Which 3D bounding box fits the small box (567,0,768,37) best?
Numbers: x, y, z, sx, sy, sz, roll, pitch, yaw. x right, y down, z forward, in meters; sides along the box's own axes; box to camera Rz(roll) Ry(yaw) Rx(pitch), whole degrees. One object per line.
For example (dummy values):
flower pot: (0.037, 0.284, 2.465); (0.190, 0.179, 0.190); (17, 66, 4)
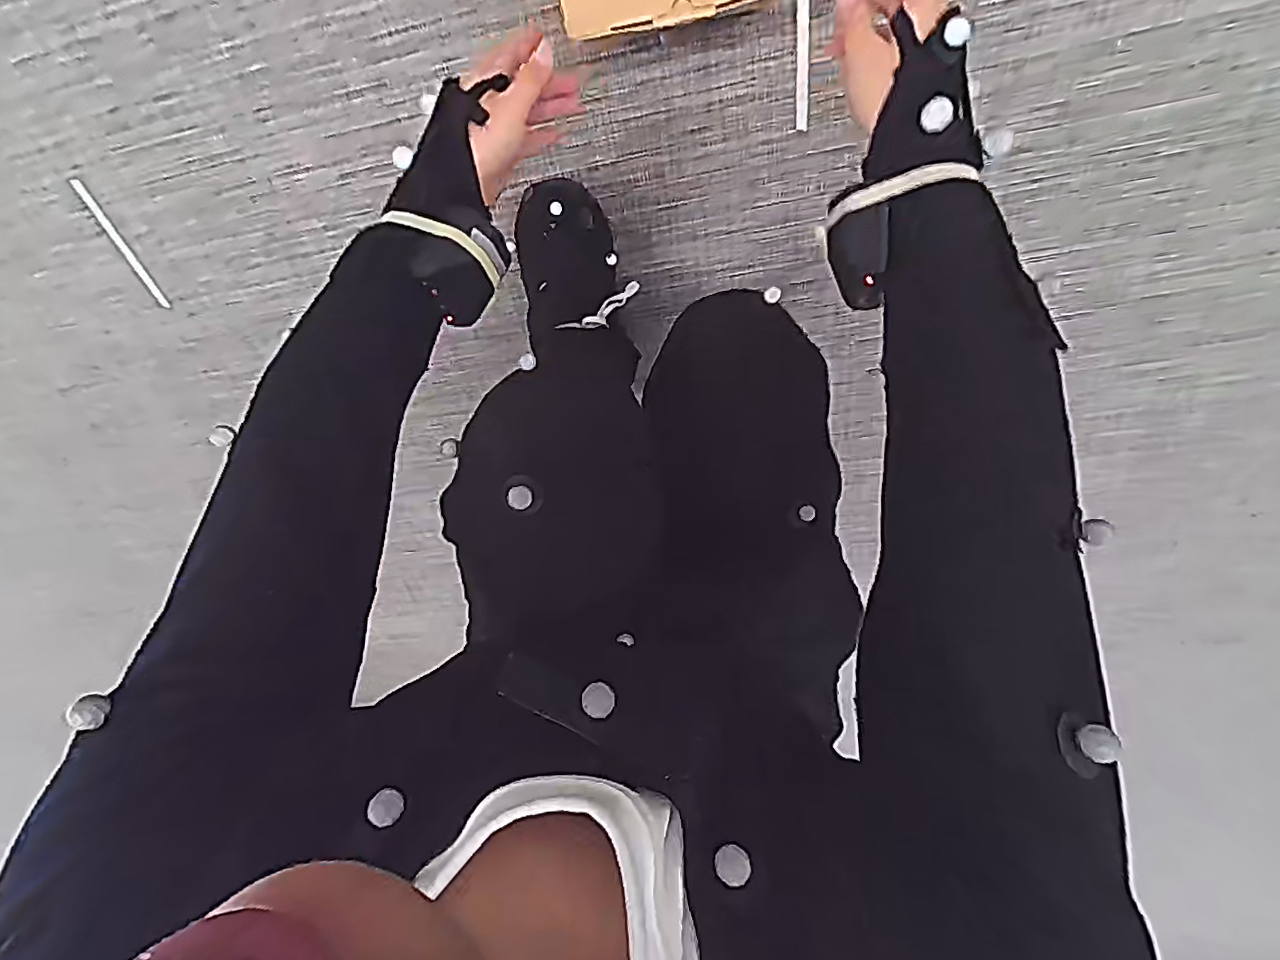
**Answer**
small box: (0.021, -0.437, 0.379); (0.168, 0.176, 0.179); (-7, 129, 8)
